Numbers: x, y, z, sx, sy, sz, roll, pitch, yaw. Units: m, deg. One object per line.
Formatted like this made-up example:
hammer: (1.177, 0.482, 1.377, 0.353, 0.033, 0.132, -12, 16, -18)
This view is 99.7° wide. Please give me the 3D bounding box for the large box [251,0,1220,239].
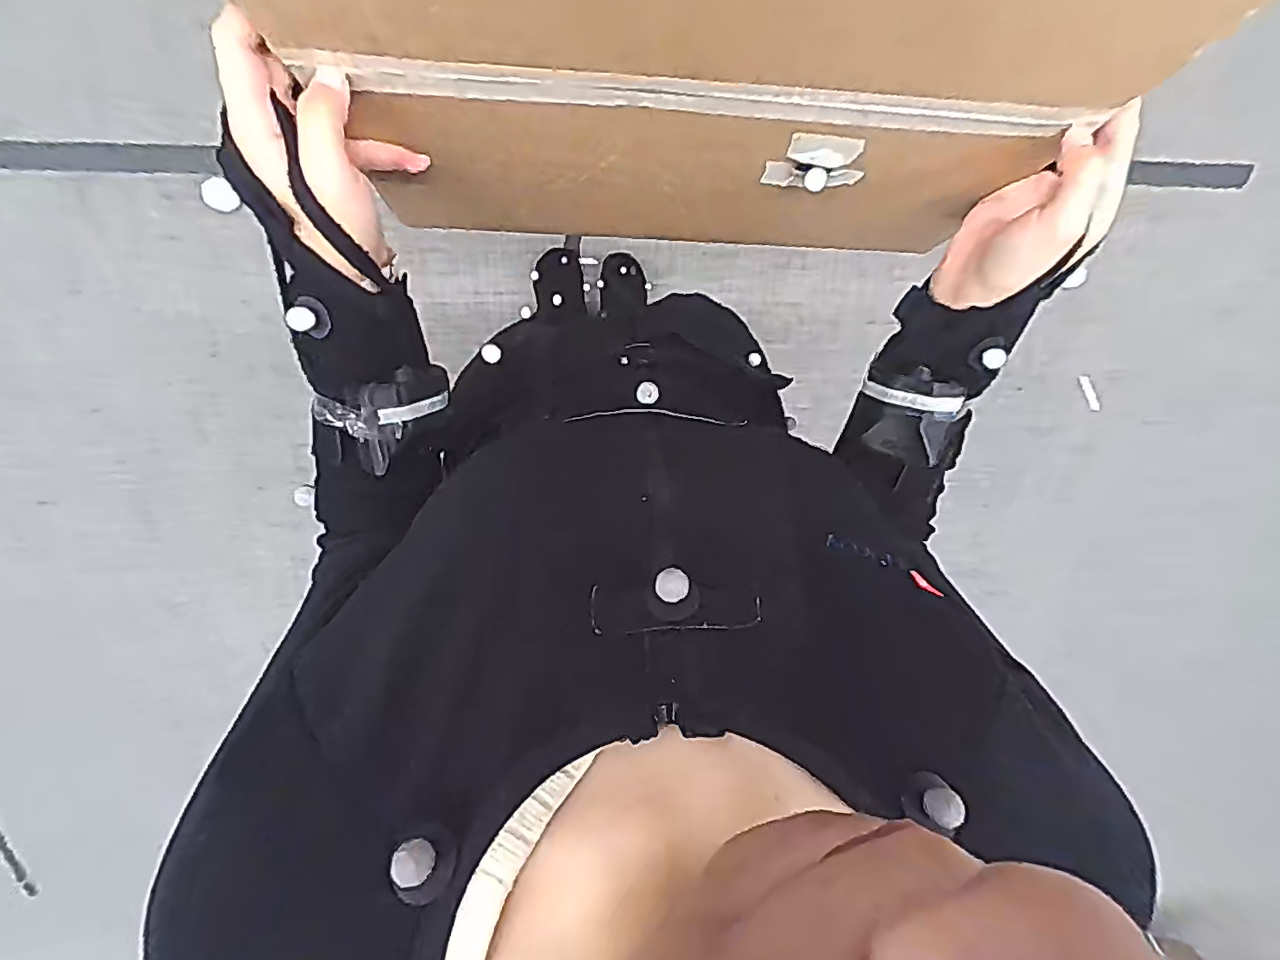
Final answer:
large box: (0.032, -0.346, 0.271, 0.408, 0.320, 0.320, 0, 89, -5)
